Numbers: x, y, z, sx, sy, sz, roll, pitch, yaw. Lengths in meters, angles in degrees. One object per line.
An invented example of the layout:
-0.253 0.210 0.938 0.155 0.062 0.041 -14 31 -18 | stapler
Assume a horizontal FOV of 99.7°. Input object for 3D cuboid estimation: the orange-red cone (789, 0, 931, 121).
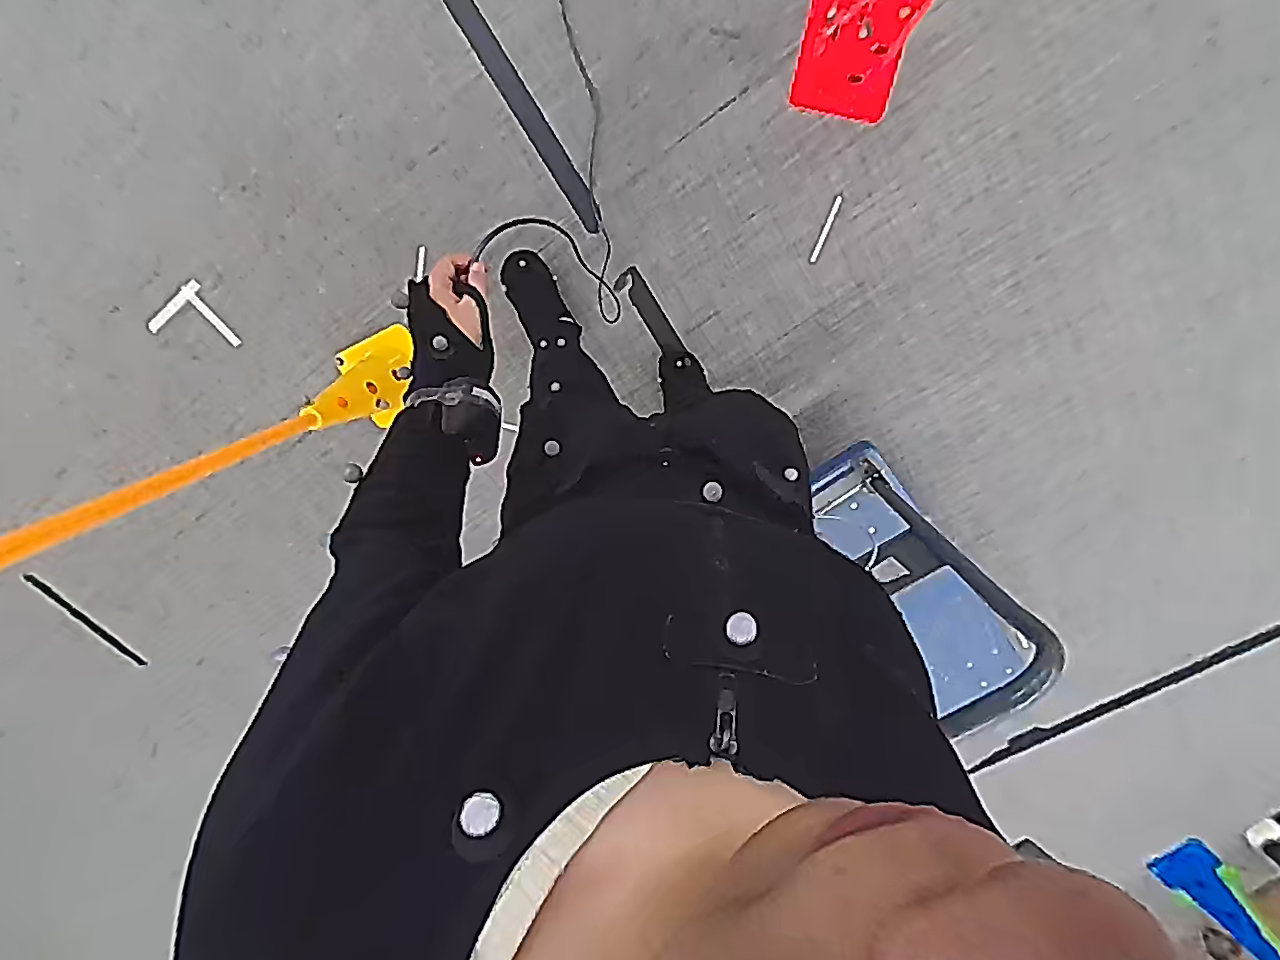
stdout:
0.406 -0.763 0.895 0.198 0.360 0.199 11 113 -4 | orange-red cone
